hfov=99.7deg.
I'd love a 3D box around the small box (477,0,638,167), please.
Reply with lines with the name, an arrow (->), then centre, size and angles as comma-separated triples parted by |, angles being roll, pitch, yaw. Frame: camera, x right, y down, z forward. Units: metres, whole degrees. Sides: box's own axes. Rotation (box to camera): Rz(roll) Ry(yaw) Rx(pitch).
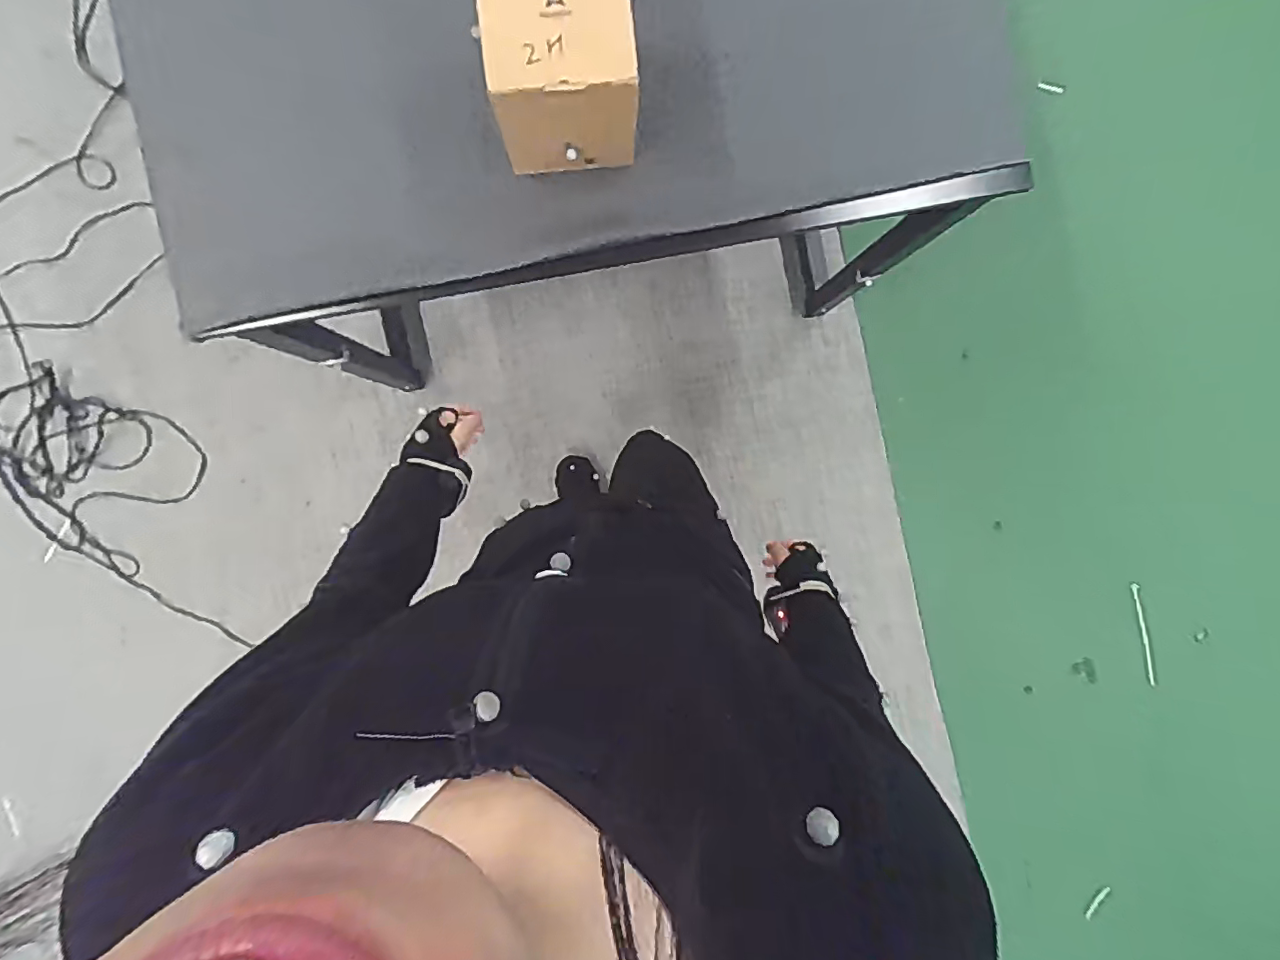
small box -> -0.097, -0.513, 0.649 | 0.168, 0.176, 0.179 | -7, 92, -3
